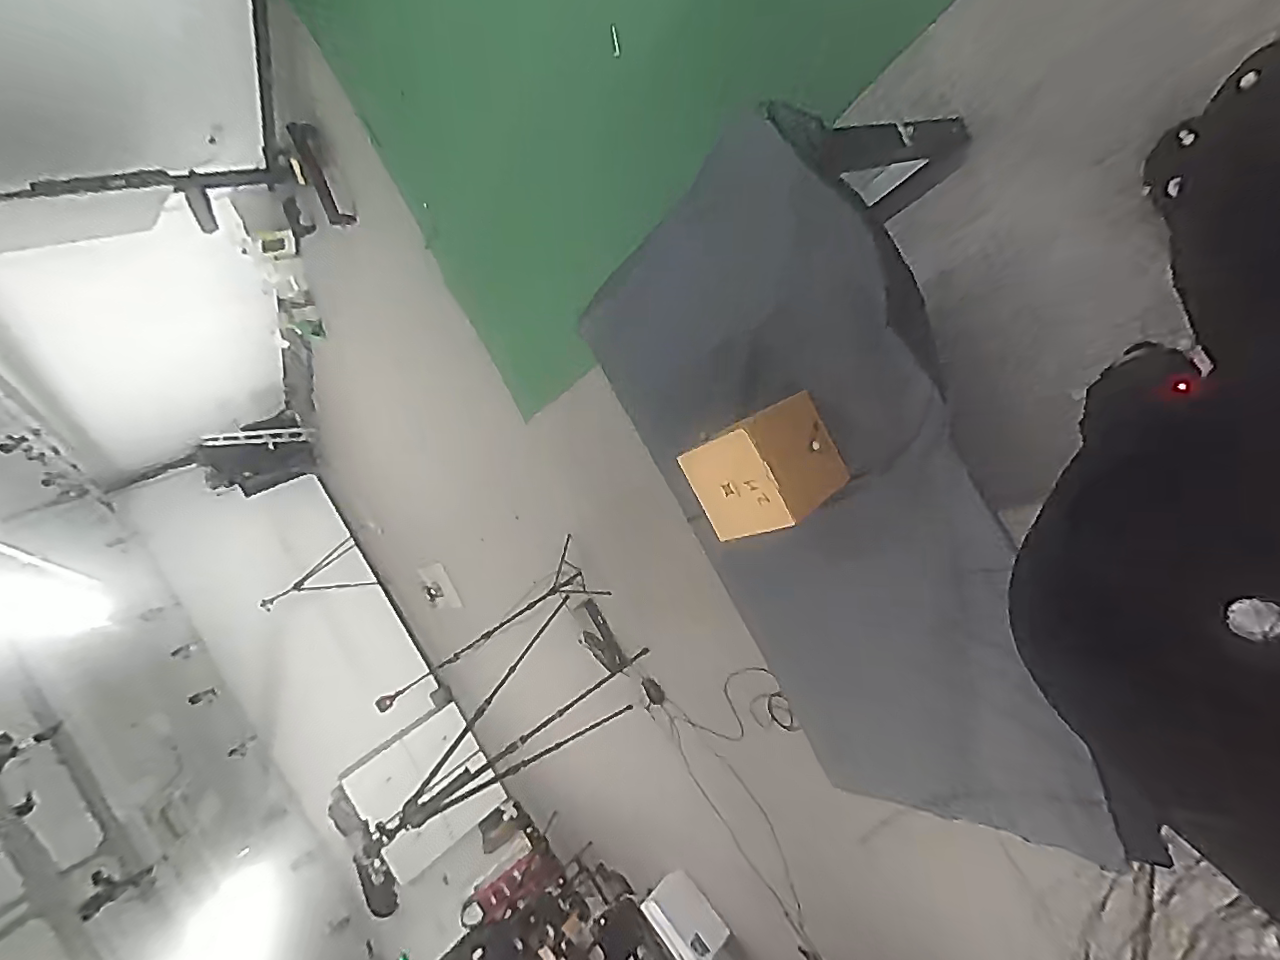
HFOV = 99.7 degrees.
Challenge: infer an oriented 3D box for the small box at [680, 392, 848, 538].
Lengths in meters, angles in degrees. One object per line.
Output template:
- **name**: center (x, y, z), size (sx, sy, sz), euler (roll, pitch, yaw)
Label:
- **small box**: center (0.206, -0.023, 0.899), size (0.179, 0.176, 0.168), euler (-25, 95, 54)
